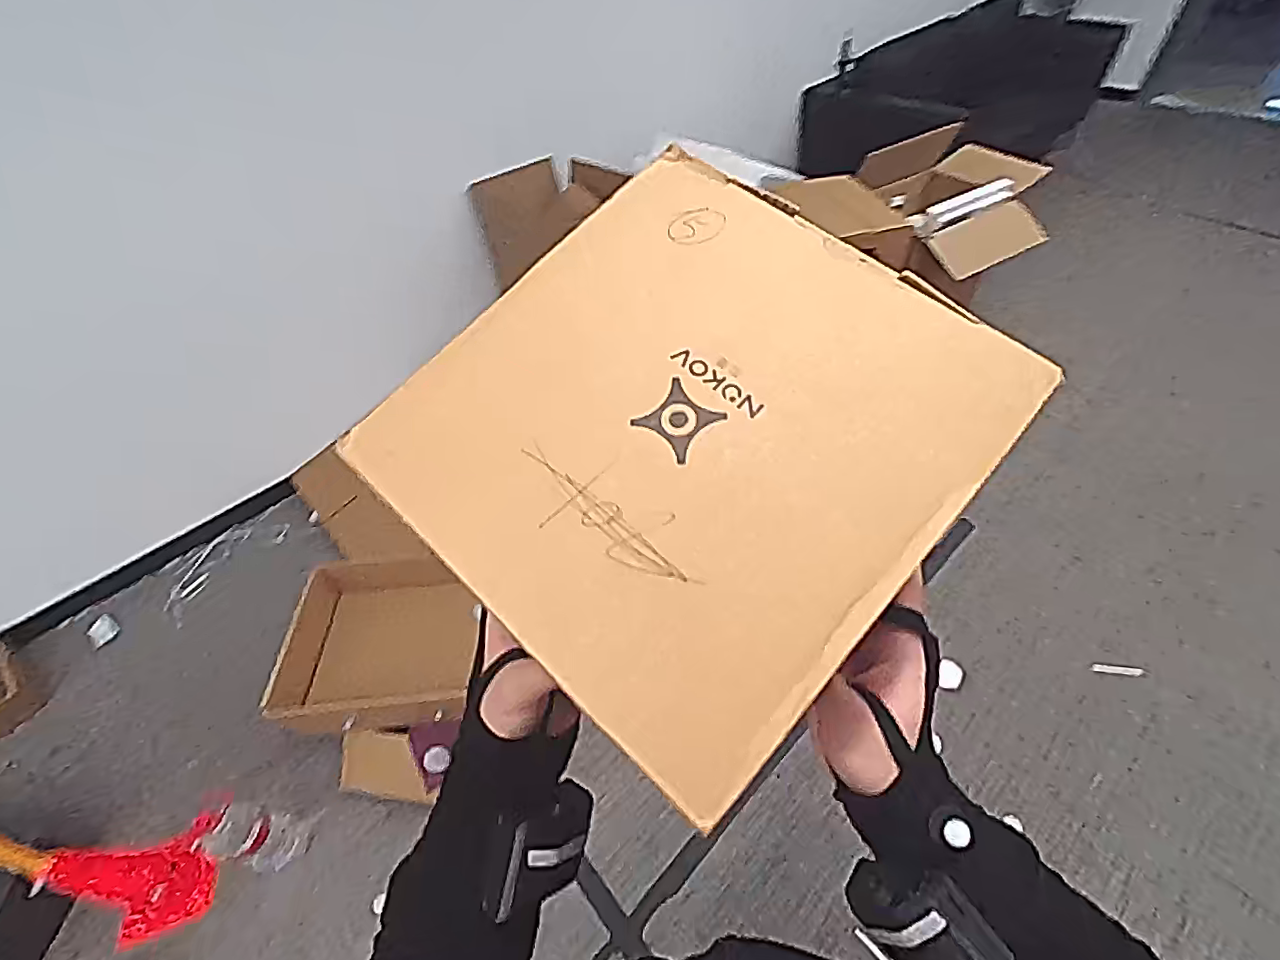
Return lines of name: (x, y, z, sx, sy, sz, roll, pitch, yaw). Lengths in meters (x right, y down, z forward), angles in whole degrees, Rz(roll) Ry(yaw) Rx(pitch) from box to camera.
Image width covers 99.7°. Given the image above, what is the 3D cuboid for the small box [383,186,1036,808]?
small box: (0.027, 0.011, 0.265, 0.168, 0.176, 0.179, 41, 79, 19)
